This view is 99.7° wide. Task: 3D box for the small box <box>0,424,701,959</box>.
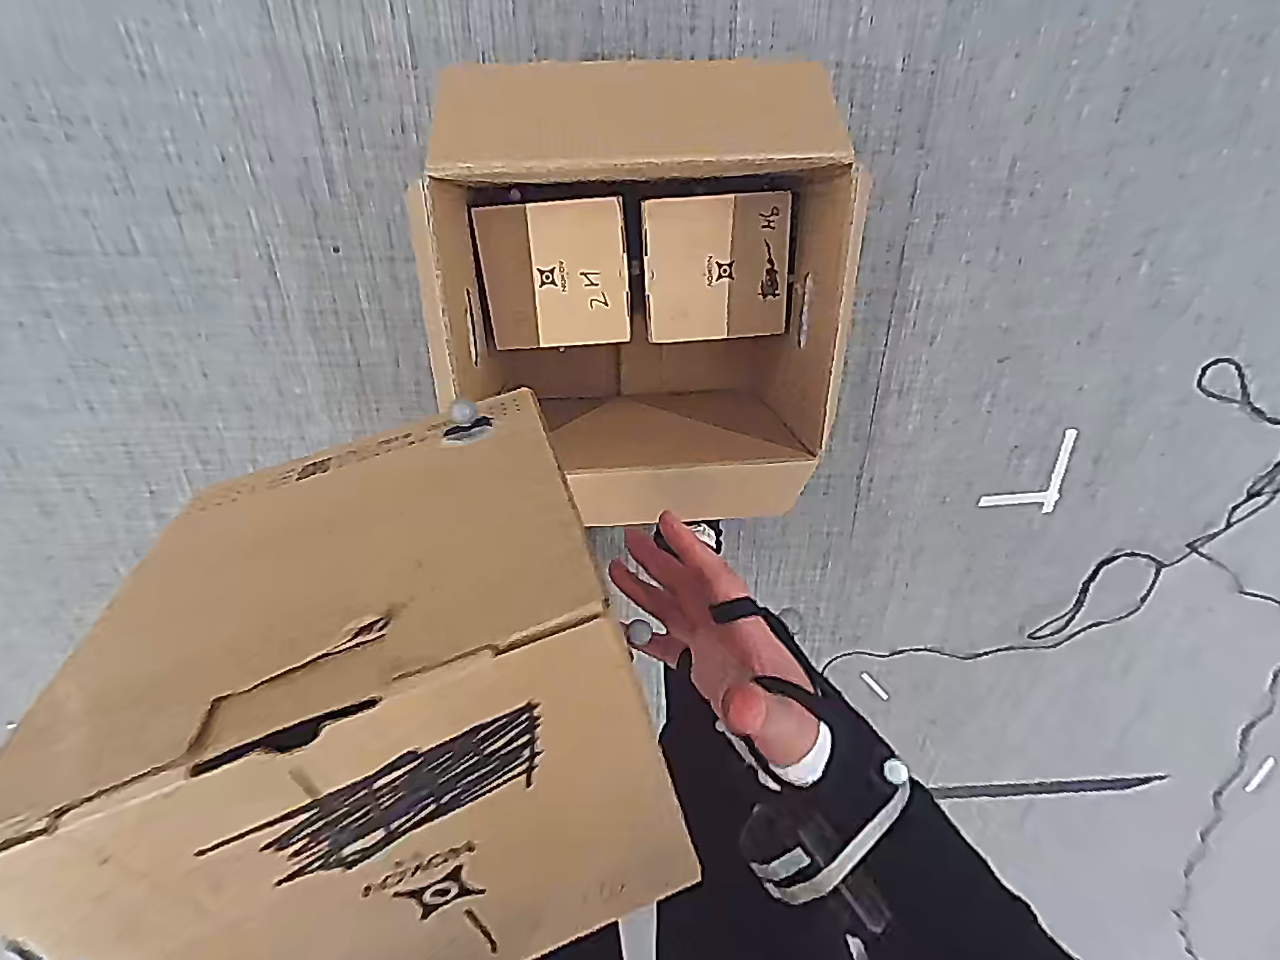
[{"bbox_3d":[-0.088,0.090,0.252,0.168,0.176,0.179,-19,124,-9],"label":"small box"}]
